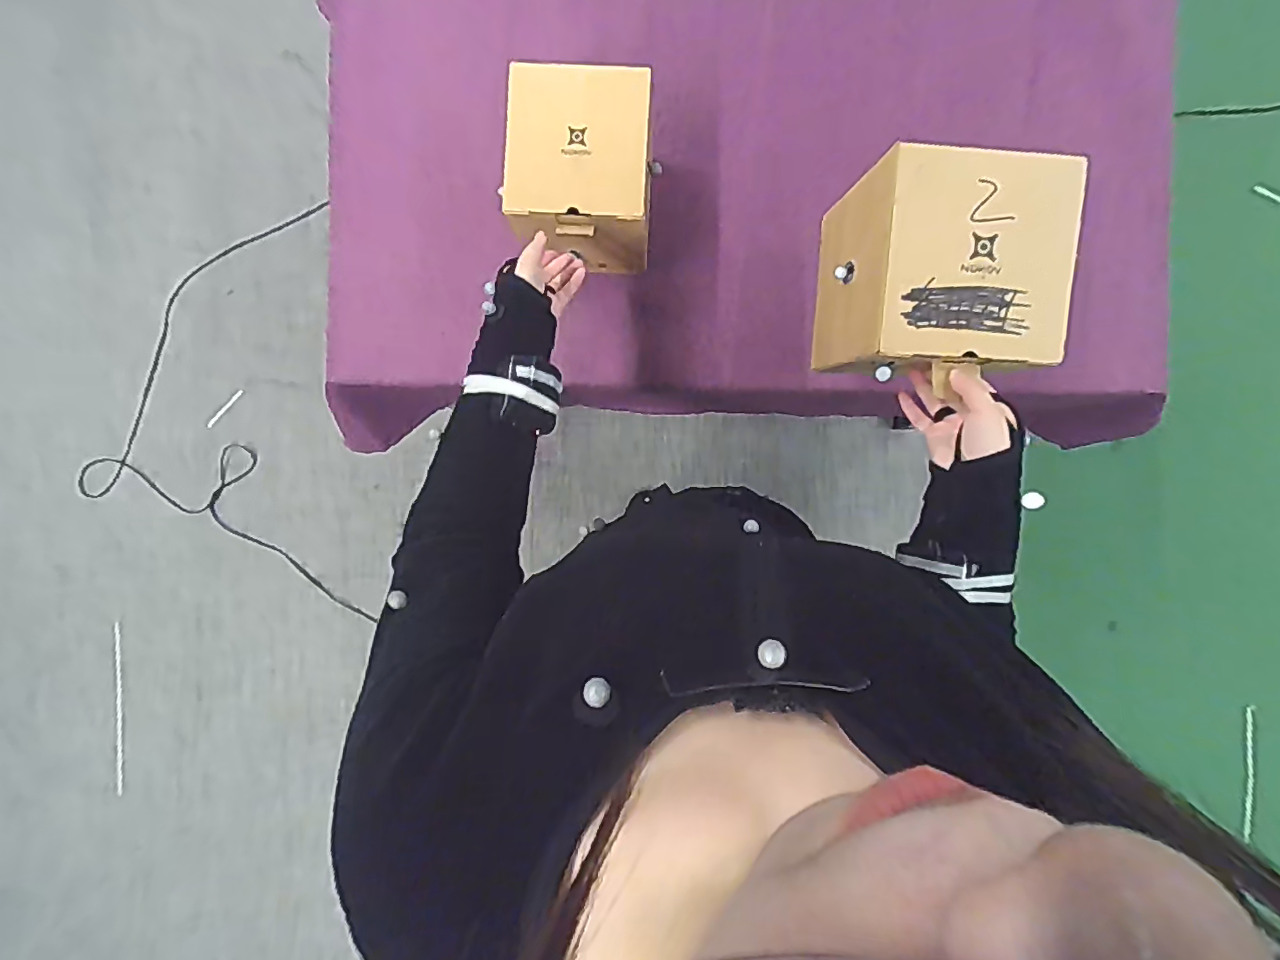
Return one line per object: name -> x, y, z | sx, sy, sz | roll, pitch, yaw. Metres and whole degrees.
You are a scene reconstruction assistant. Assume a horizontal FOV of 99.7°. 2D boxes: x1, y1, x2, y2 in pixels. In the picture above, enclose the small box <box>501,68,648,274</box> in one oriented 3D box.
small box -> -0.077, -0.395, 0.716 | 0.168, 0.176, 0.179 | 3, 91, 1
